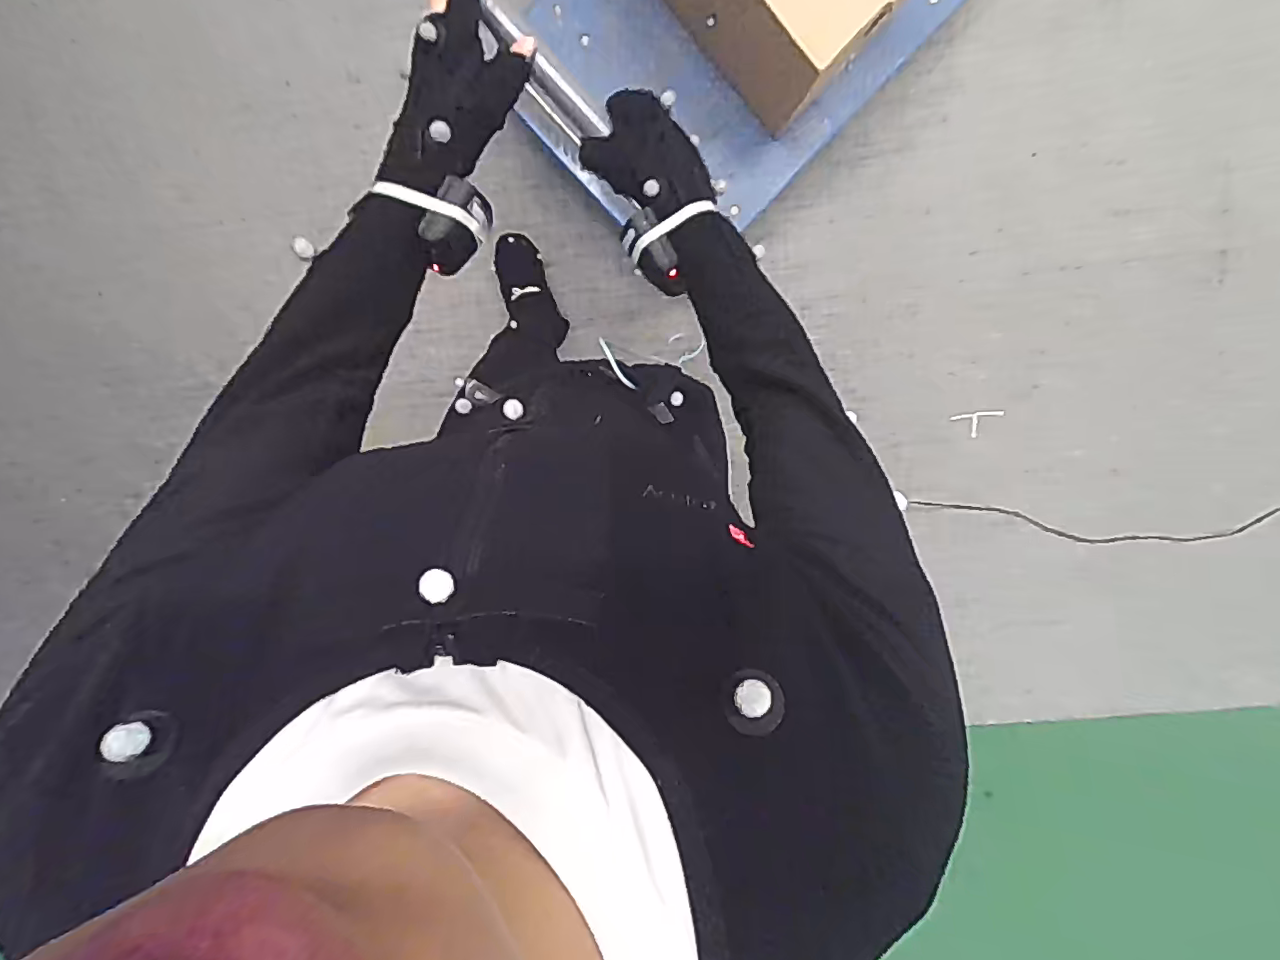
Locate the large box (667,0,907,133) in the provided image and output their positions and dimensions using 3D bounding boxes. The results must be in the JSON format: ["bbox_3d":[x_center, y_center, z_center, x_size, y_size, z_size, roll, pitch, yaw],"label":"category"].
[{"bbox_3d":[0.240,-0.876,0.866,0.320,0.320,0.408,-43,100,12],"label":"large box"}]
